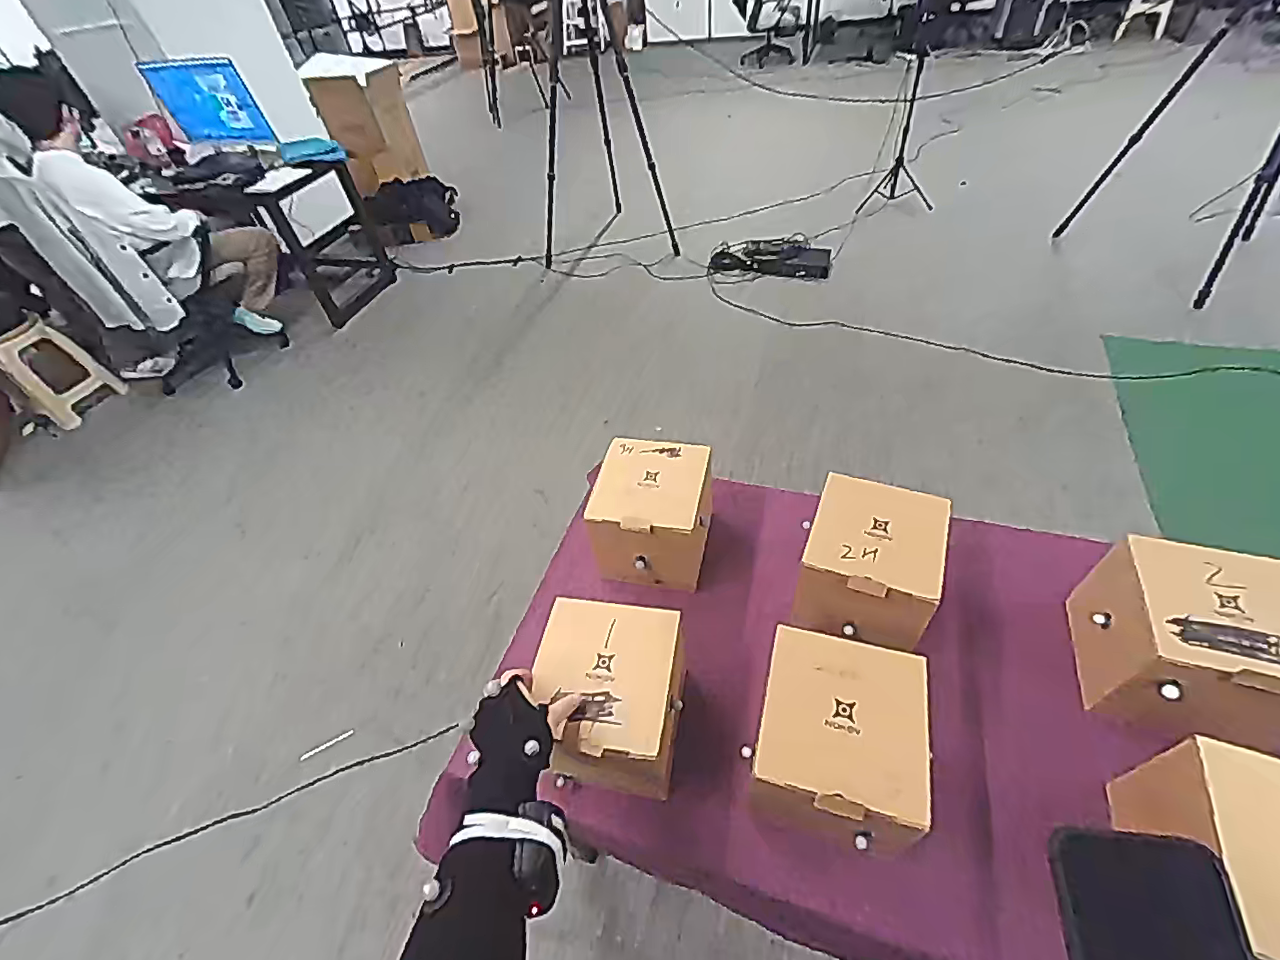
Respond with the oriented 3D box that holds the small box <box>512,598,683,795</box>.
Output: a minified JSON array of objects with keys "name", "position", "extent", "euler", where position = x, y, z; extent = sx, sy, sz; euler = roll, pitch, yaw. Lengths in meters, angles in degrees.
[{"name":"small box","position":[-0.039,0.277,0.690],"extent":[0.168,0.176,0.179],"euler":[4,47,12]}]

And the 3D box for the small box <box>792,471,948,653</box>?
[{"name":"small box","position":[0.324,0.120,0.779],"extent":[0.168,0.176,0.179],"euler":[15,52,21]}]

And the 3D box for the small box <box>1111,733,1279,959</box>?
[{"name":"small box","position":[0.583,0.376,0.503],"extent":[0.168,0.176,0.179],"euler":[13,51,20]}]

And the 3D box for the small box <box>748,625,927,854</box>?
[{"name":"small box","position":[0.222,0.302,0.629],"extent":[0.168,0.176,0.179],"euler":[10,49,16]}]

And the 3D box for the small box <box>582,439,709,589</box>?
[{"name":"small box","position":[0.021,0.058,0.885],"extent":[0.168,0.176,0.179],"euler":[6,50,14]}]
